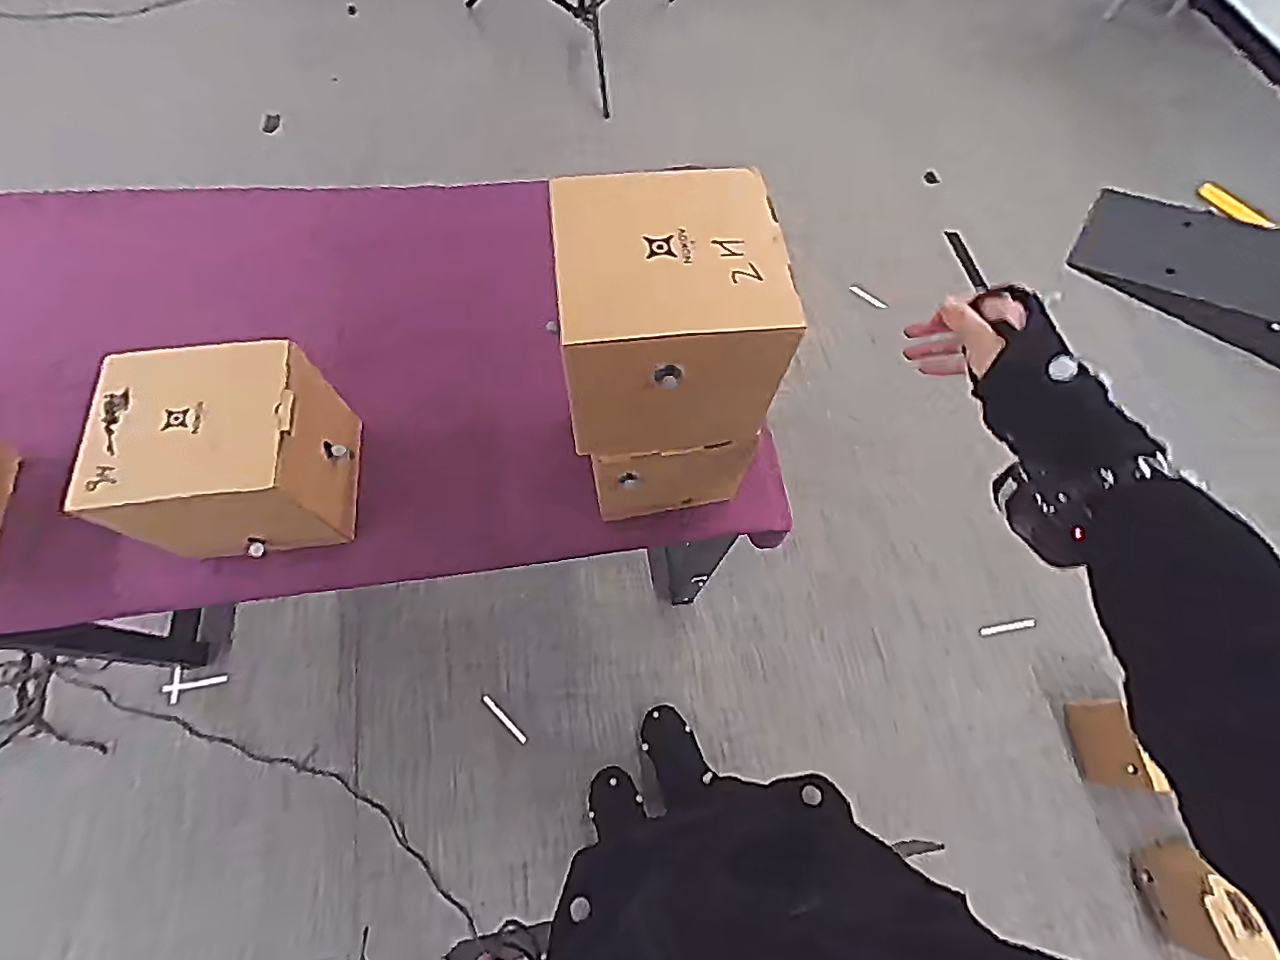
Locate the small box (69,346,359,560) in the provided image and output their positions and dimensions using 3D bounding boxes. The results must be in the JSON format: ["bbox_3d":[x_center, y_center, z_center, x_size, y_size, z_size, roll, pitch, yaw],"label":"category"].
[{"bbox_3d":[-0.421,-0.021,0.575,0.179,0.176,0.168,-6,68,-7],"label":"small box"}]

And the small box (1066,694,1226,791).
[{"bbox_3d":[1.115,0.583,1.211,0.168,0.176,0.179,-3,67,-5],"label":"small box"}]

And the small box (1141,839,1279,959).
[{"bbox_3d":[1.183,0.856,1.097,0.179,0.176,0.168,-9,68,-8],"label":"small box"}]

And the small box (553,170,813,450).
[{"bbox_3d":[0.024,-0.137,0.472,0.179,0.176,0.168,-5,67,-5],"label":"small box"}]
